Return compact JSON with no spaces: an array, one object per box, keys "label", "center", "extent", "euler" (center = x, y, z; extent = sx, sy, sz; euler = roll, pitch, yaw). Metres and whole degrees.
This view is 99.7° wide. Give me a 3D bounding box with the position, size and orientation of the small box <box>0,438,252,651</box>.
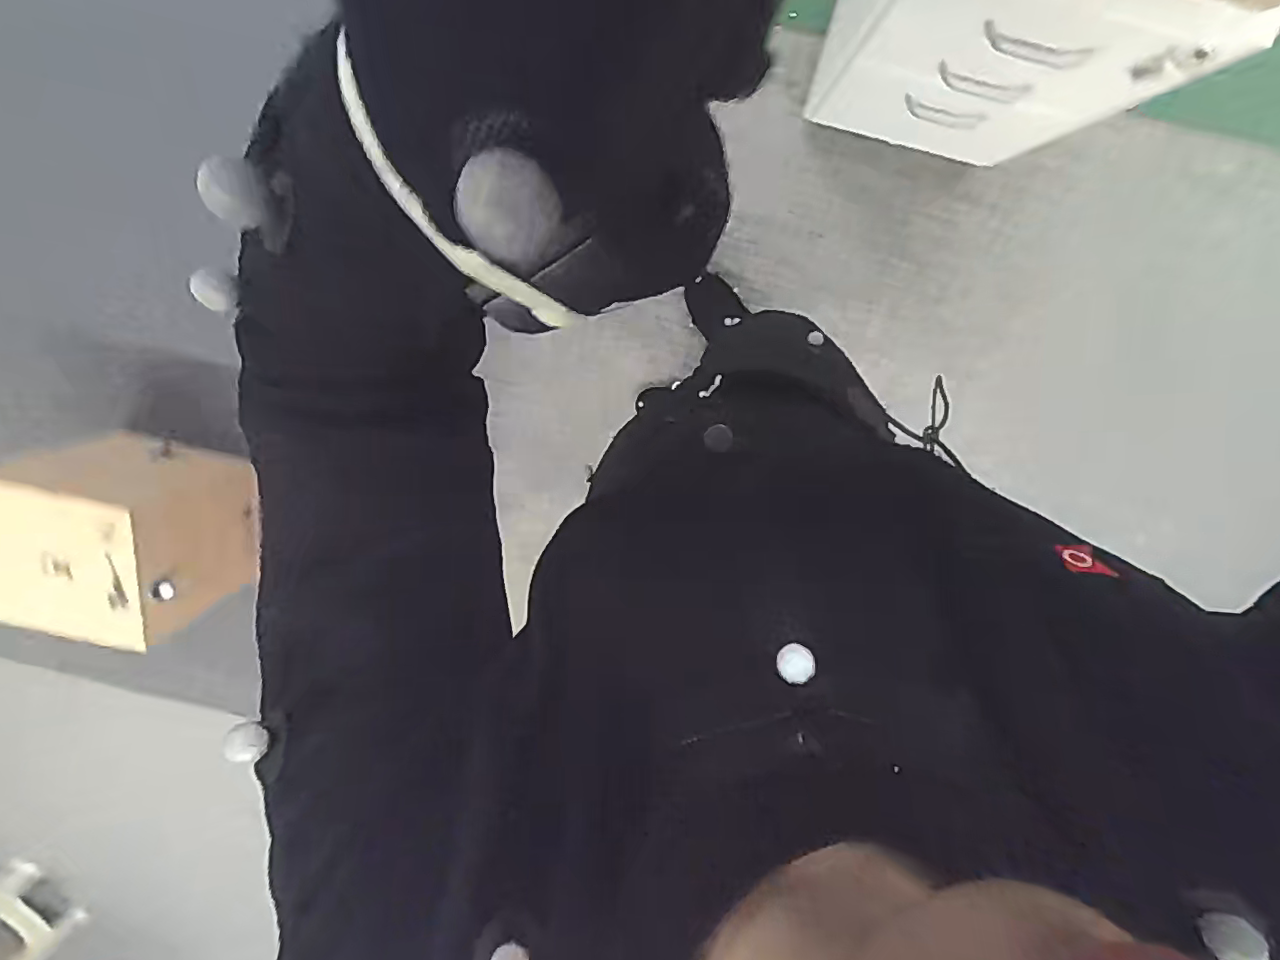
[{"label":"small box","center":[-0.584,0.059,0.609],"extent":[0.179,0.176,0.168],"euler":[13,109,0]}]
